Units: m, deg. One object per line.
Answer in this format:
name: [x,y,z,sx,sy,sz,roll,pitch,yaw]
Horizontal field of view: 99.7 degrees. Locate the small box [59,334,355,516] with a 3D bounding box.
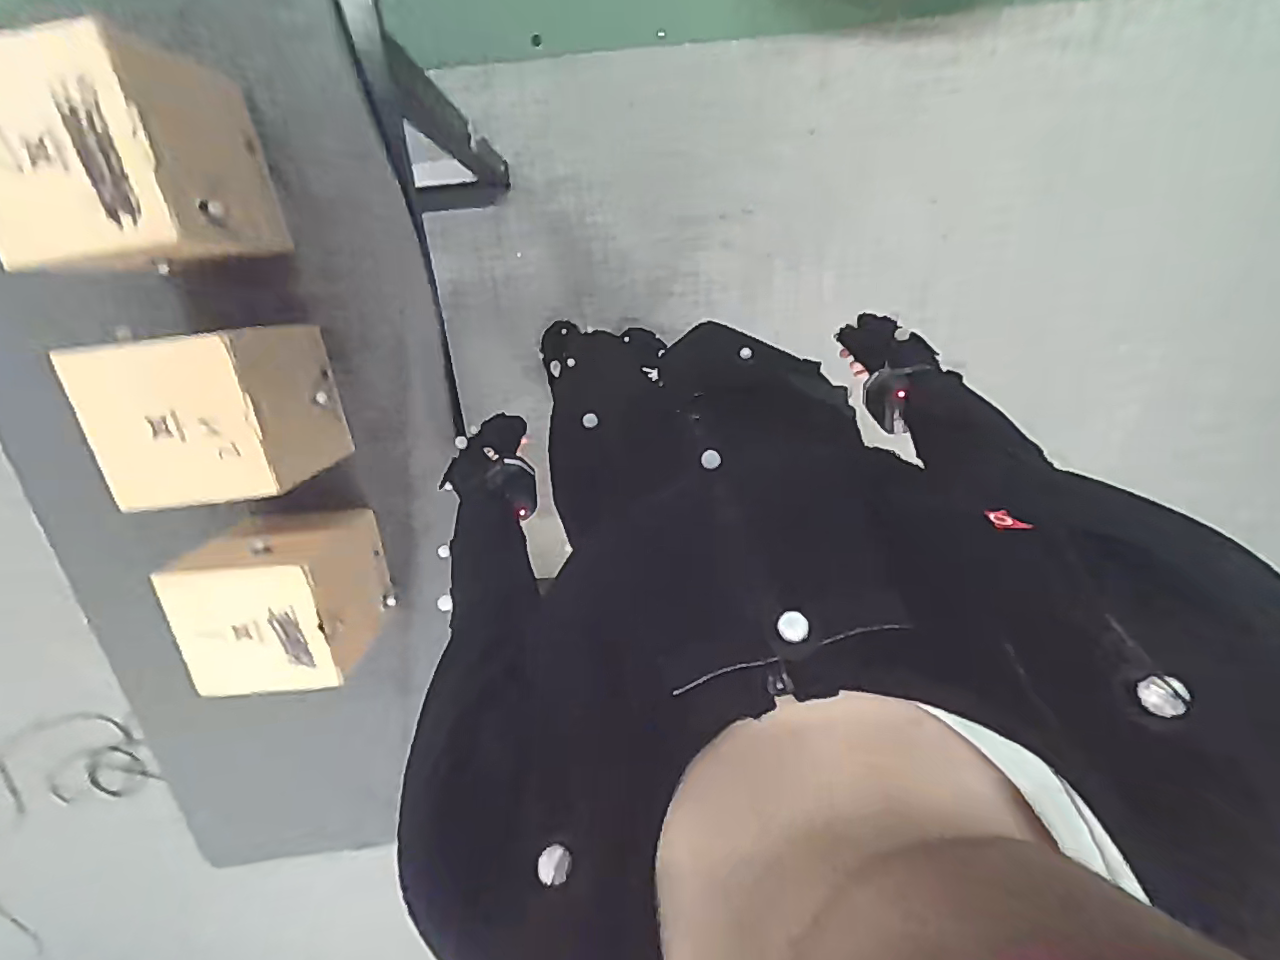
small box: [-0.468,-0.071,0.619,0.179,0.176,0.168,-6,109,1]

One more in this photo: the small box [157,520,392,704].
small box: [-0.441,0.158,0.694,0.179,0.176,0.168,-5,108,1]
